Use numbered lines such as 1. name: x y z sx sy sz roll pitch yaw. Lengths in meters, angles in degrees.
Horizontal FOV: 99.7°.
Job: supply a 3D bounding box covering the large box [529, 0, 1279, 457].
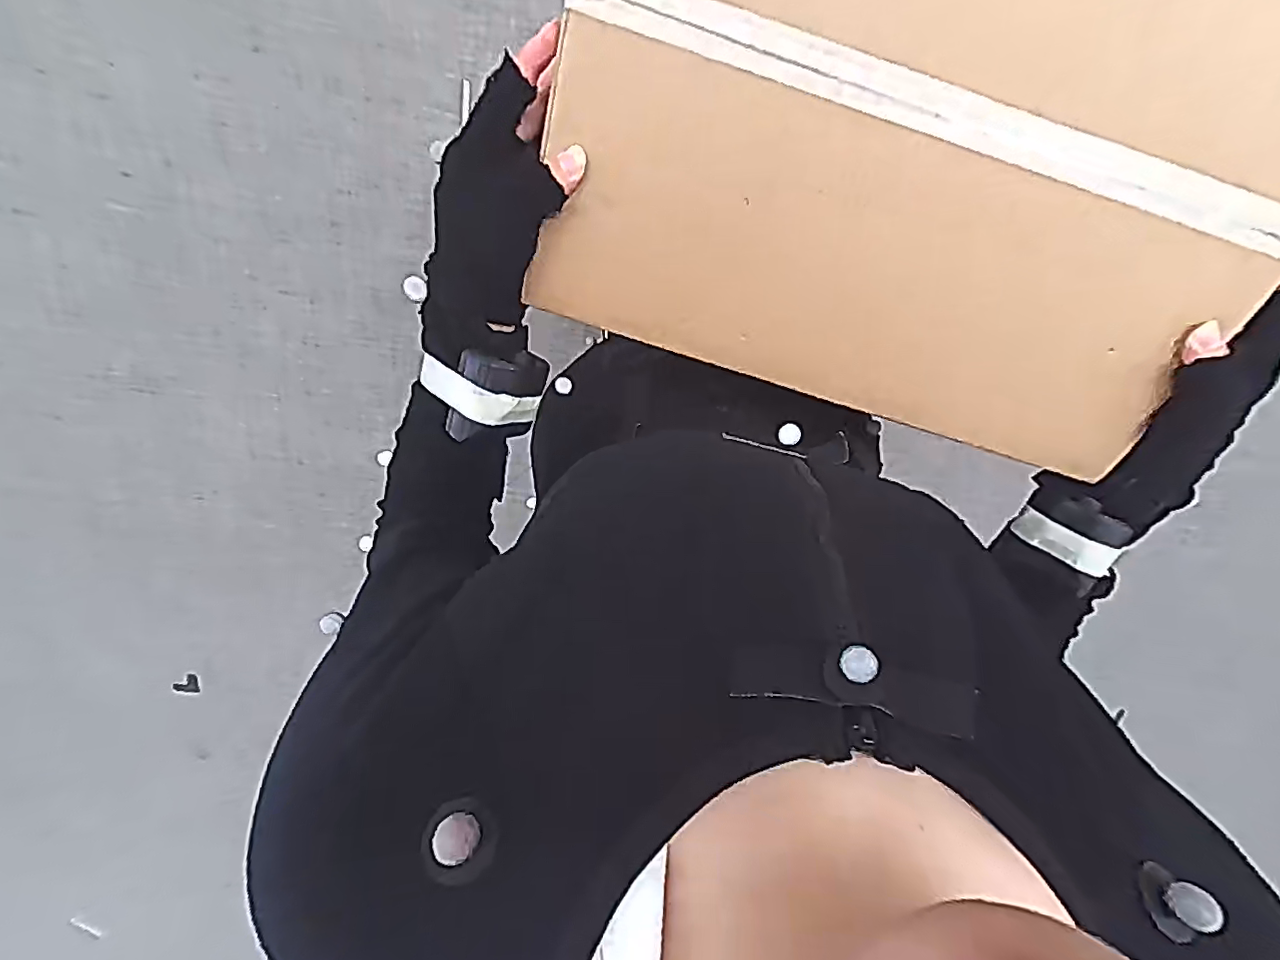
1. large box: 0.167 -0.267 0.408 0.408 0.320 0.320 16 123 -5
